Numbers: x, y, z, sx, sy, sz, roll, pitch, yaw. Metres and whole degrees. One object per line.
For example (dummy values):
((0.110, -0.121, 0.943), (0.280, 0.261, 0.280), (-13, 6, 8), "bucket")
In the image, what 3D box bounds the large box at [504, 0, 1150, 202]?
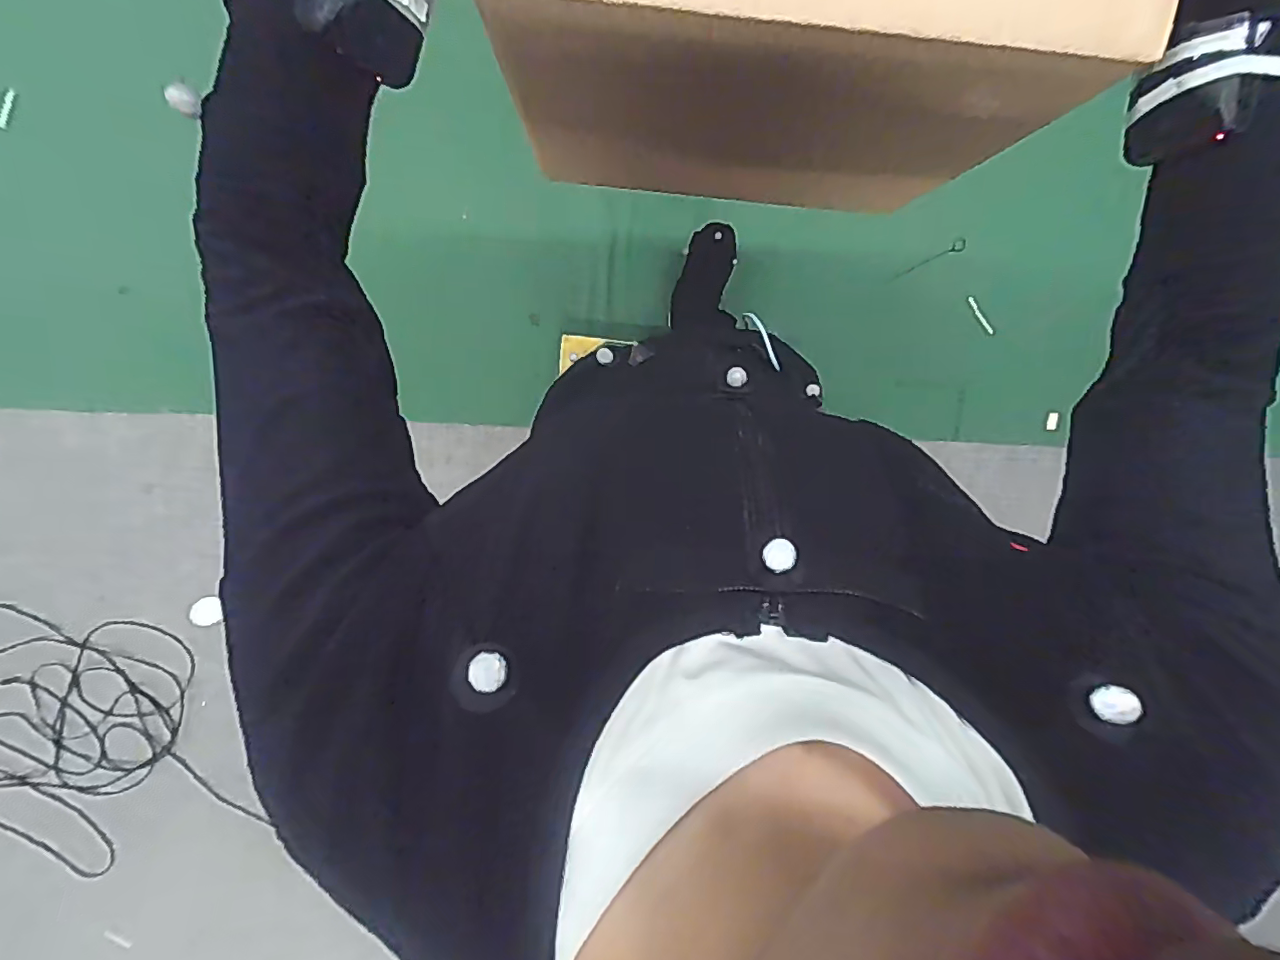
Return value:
((0.110, -0.449, 0.440), (0.408, 0.320, 0.320), (3, 101, -4), "large box")
